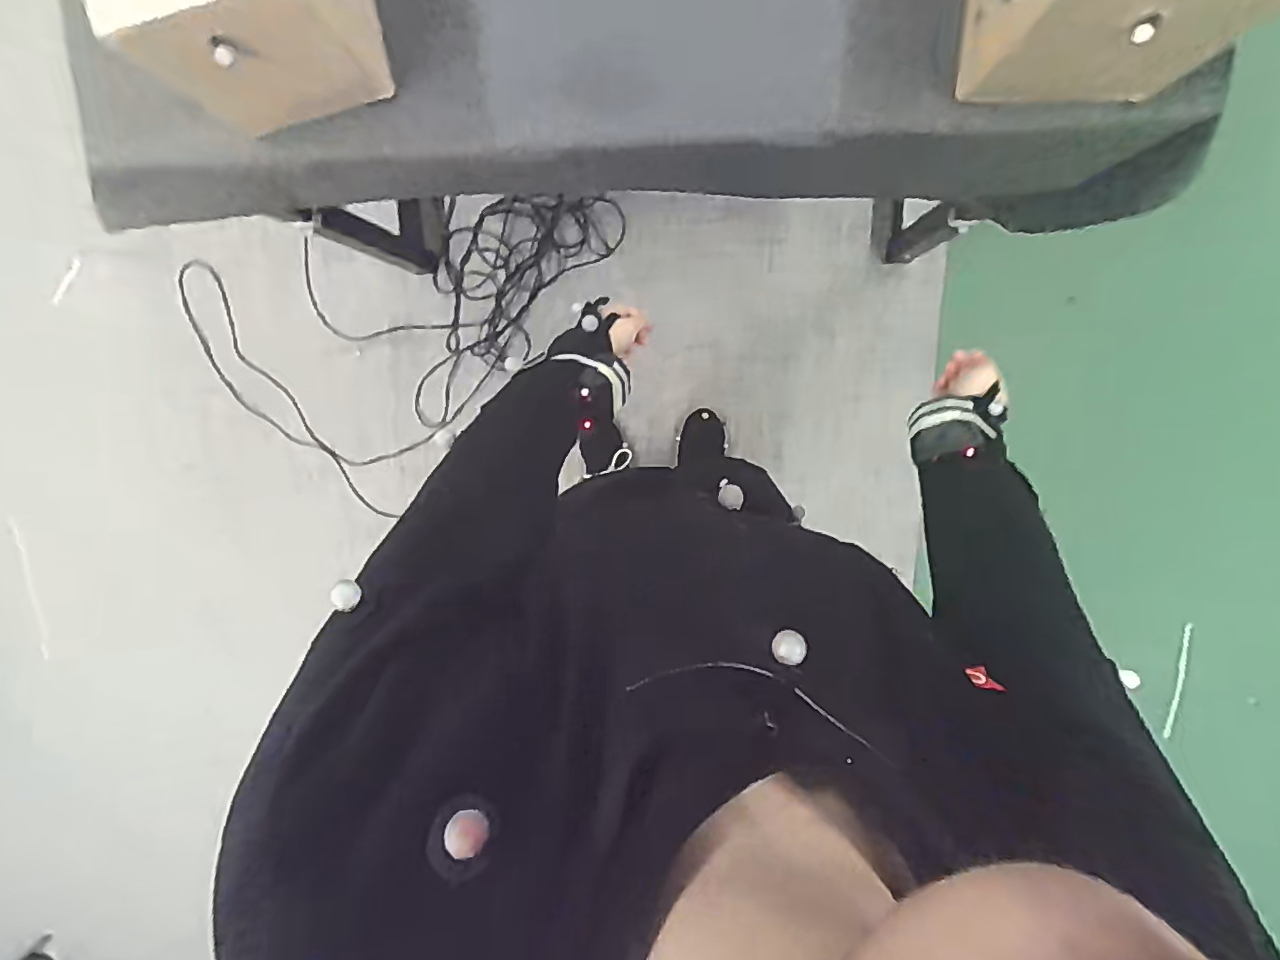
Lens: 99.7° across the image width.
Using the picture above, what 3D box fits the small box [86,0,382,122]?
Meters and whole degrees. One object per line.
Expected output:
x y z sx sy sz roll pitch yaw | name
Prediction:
-0.365 -0.469 0.495 0.179 0.176 0.168 -10 98 7 | small box
